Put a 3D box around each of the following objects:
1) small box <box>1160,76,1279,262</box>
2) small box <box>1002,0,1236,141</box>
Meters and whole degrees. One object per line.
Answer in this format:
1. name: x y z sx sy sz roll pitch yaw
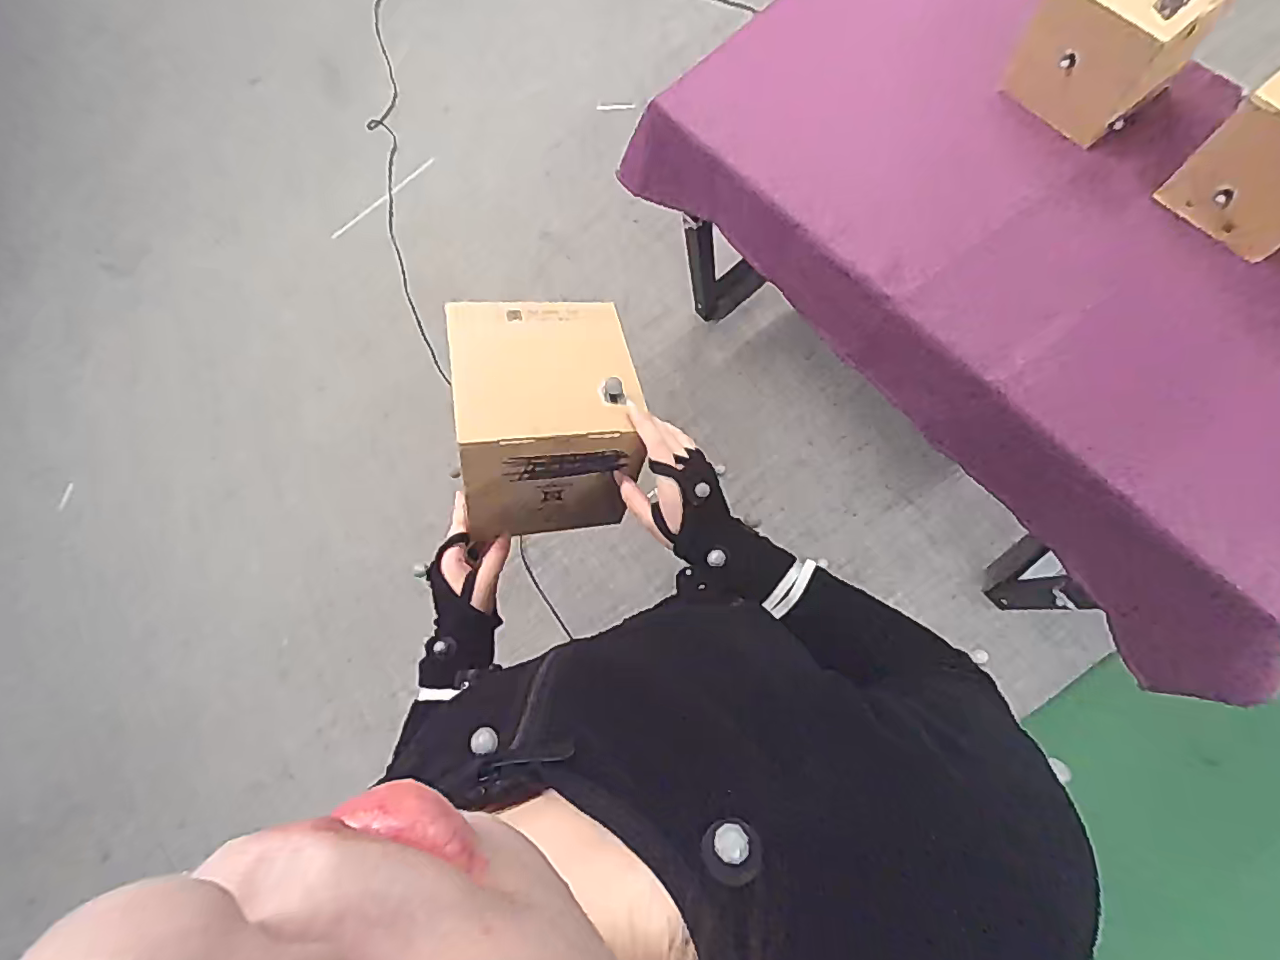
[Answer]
1. small box: 0.858 -0.429 0.701 0.179 0.176 0.168 -40 73 0
2. small box: 0.682 -0.636 0.780 0.168 0.176 0.179 -38 72 0
